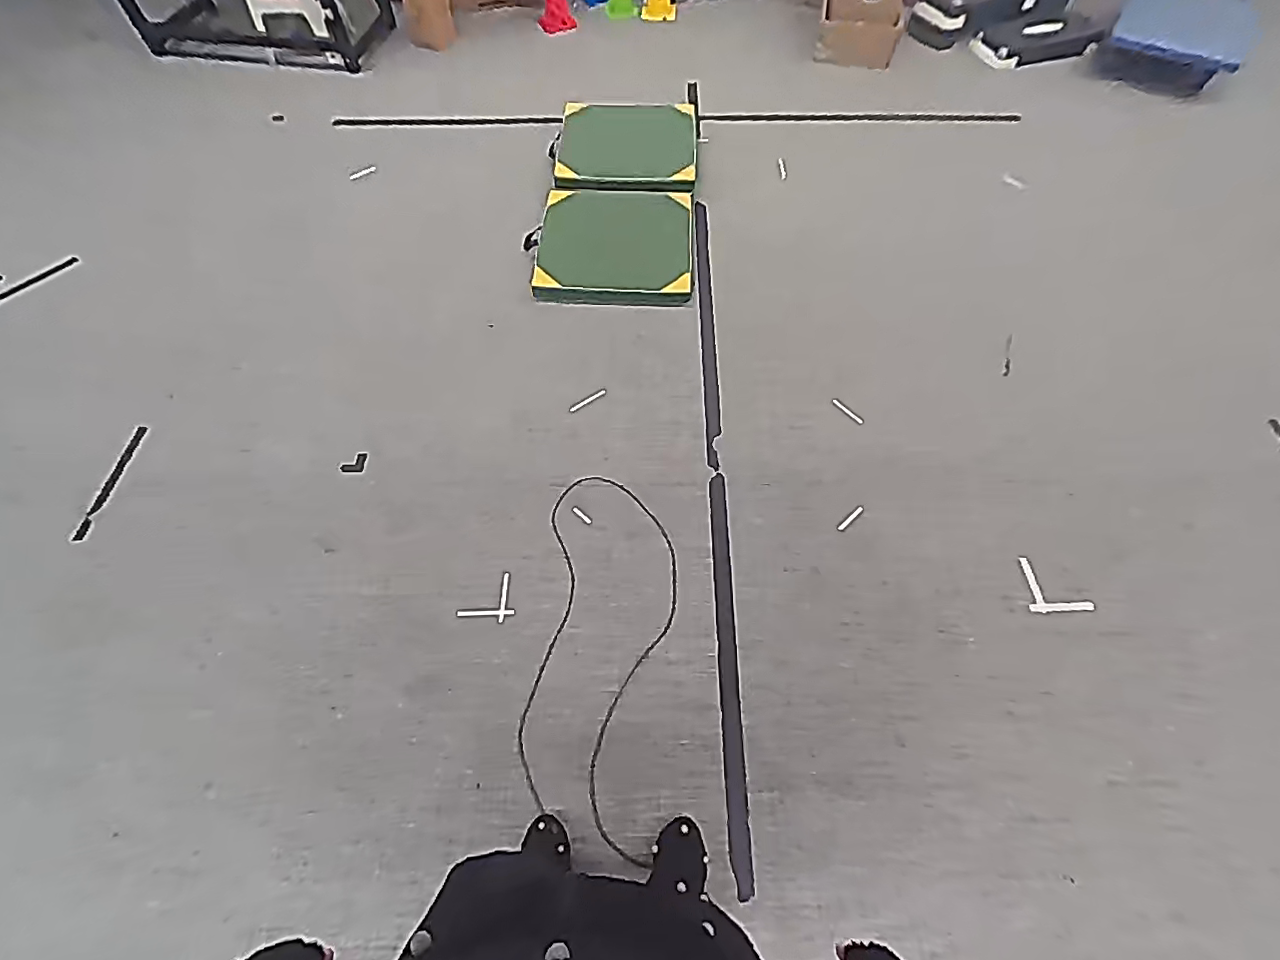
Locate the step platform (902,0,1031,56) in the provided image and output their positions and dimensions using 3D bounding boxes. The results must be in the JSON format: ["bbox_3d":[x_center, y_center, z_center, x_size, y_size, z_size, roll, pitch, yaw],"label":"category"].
[{"bbox_3d":[1.843,-2.618,3.038,0.684,0.204,0.286,-25,64,-13],"label":"step platform"}]
